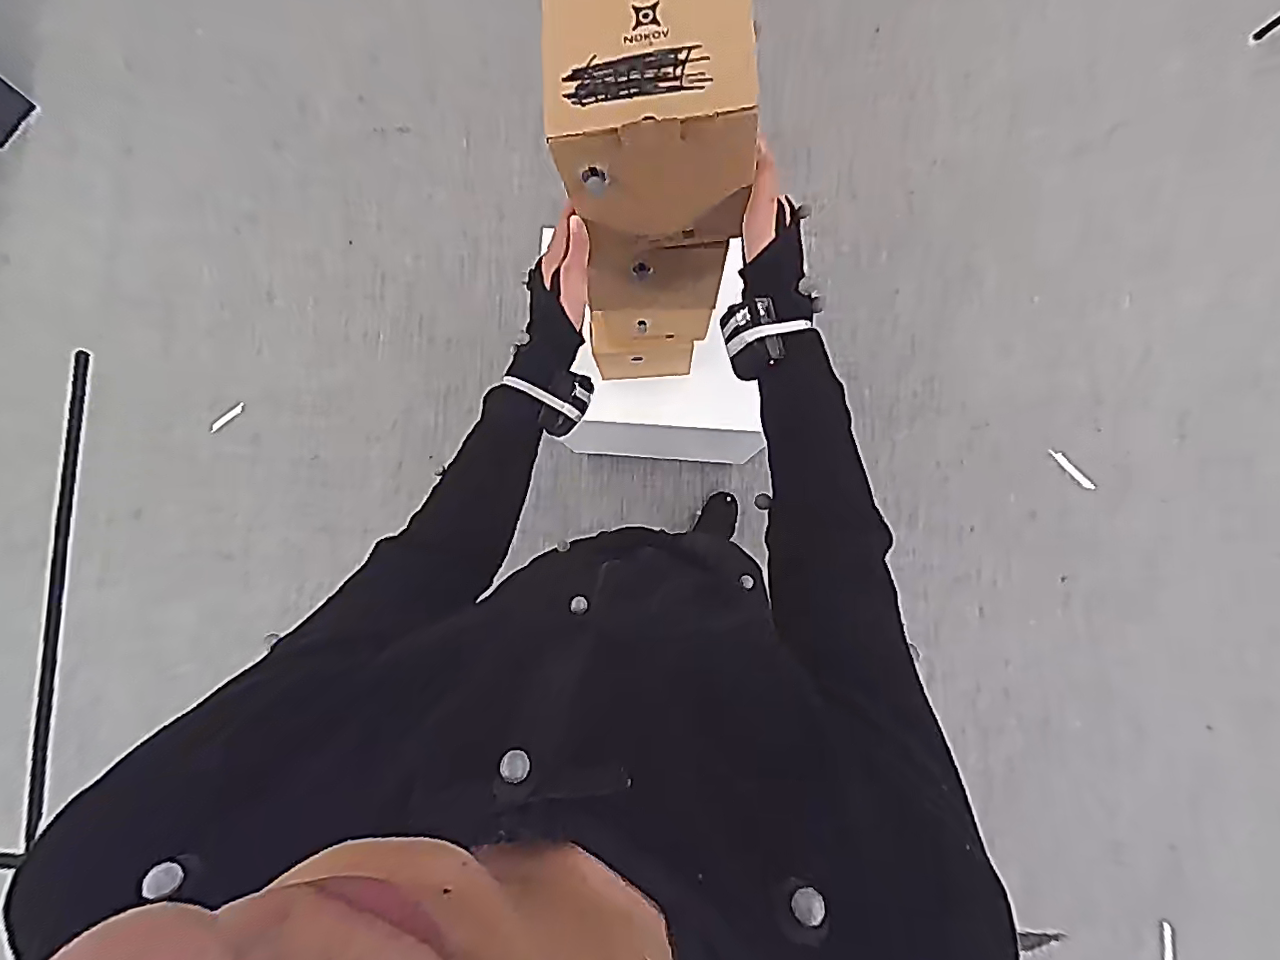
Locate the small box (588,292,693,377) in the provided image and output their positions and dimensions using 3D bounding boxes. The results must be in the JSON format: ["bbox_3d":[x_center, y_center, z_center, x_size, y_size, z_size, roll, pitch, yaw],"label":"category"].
[{"bbox_3d":[0.004,-0.295,1.001,0.179,0.176,0.168,-3,85,2],"label":"small box"}]

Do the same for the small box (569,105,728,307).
[{"bbox_3d":[0.014,-0.326,0.674,0.179,0.176,0.168,0,85,2],"label":"small box"}]

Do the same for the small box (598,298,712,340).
[{"bbox_3d":[0.022,-0.325,0.839,0.168,0.176,0.179,-2,84,2],"label":"small box"}]
